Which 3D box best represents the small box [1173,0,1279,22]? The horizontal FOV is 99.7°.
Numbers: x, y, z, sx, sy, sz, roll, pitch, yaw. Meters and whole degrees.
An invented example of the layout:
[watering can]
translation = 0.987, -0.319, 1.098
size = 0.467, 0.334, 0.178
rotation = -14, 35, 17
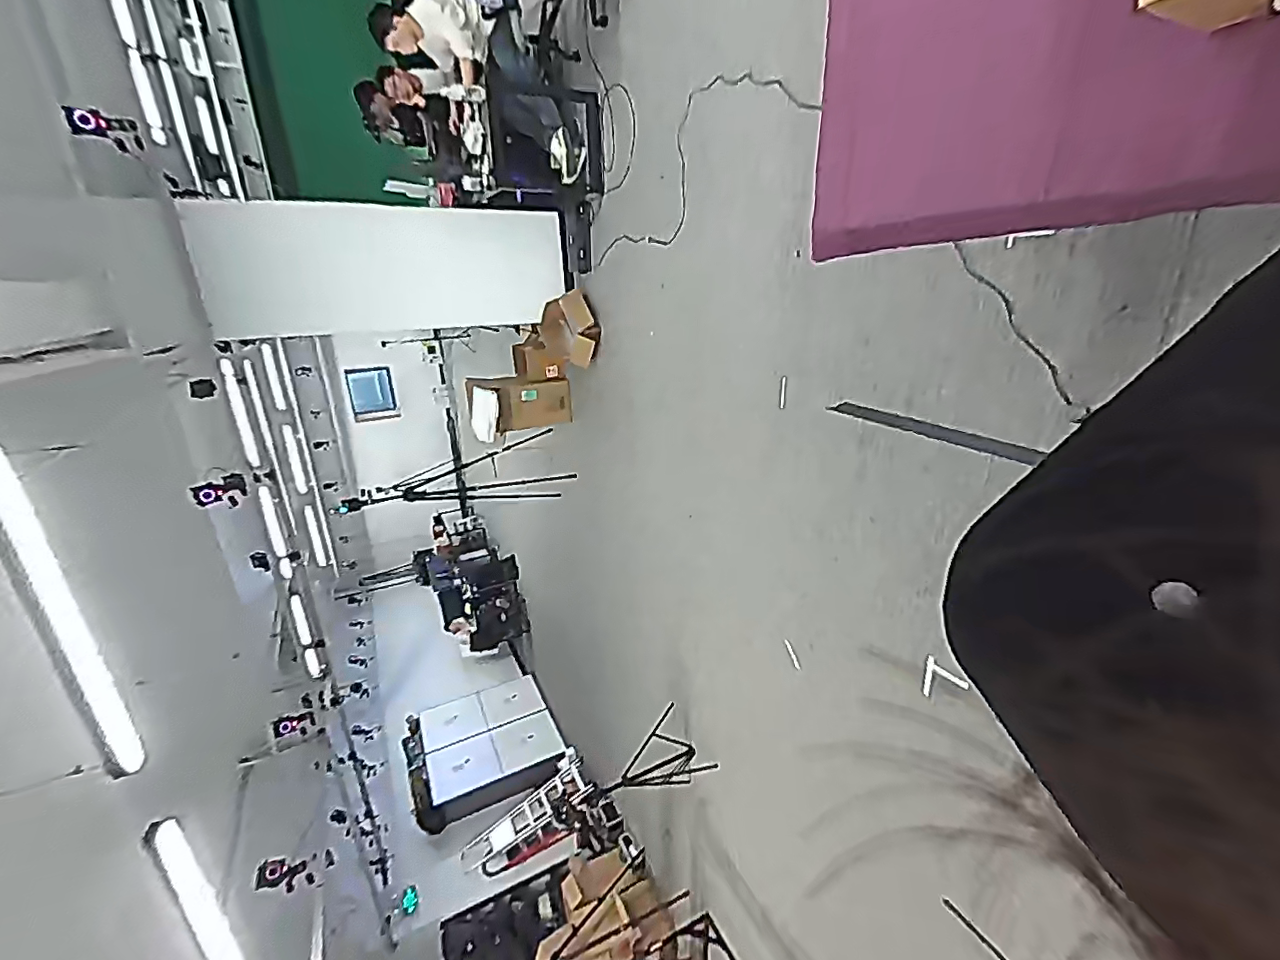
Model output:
[small box]
translation = 0.615, -0.574, 0.499
size = 0.168, 0.176, 0.179
rotation = 25, 124, 60
